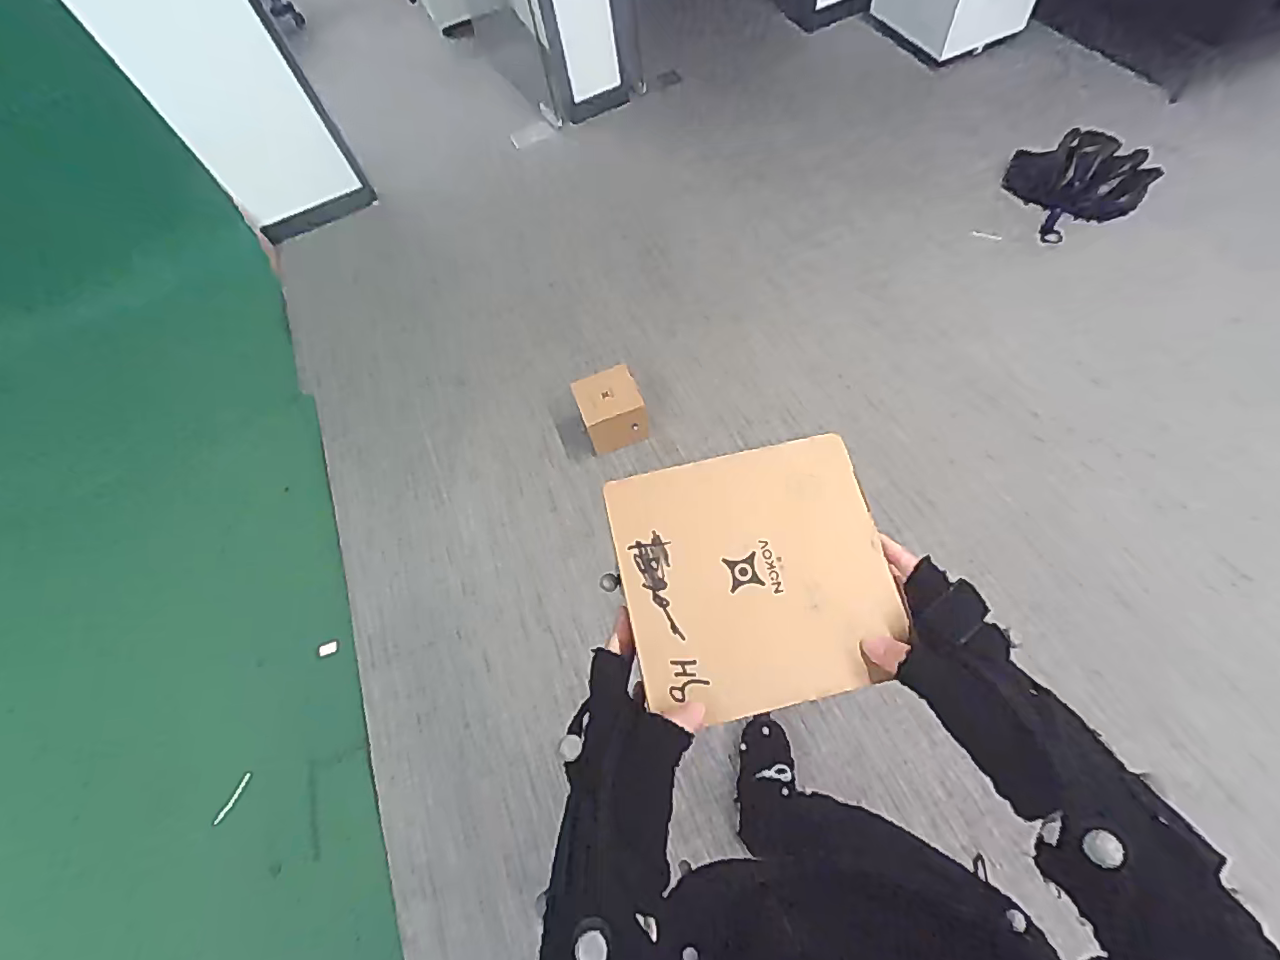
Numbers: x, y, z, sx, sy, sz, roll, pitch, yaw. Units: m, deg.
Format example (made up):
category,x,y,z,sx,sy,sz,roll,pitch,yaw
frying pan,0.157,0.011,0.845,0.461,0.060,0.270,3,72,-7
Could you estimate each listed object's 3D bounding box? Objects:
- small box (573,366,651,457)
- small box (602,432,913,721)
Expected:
category,x,y,z,sx,sy,sz,roll,pitch,yaw
small box,-0.075,-0.197,1.589,0.179,0.176,0.168,-23,61,-2
small box,0.072,0.082,0.433,0.179,0.176,0.168,-12,70,-4
